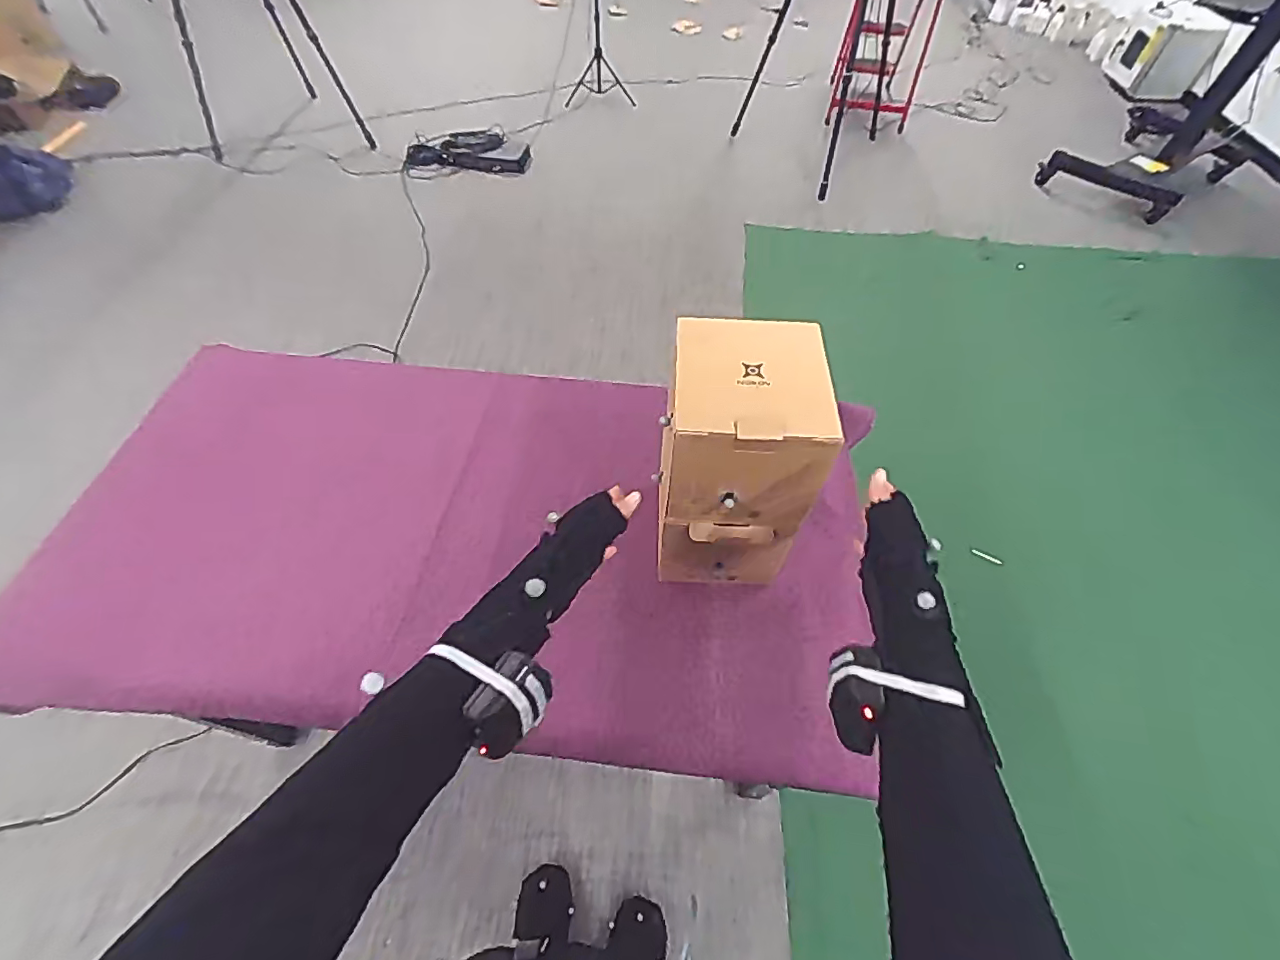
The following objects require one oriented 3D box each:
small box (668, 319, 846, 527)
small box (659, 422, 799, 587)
[{"bbox_3d":[0.120,-0.063,0.637,0.168,0.176,0.179,3,56,0],"label":"small box"},{"bbox_3d":[0.113,0.034,0.768,0.168,0.176,0.179,2,55,1],"label":"small box"}]
